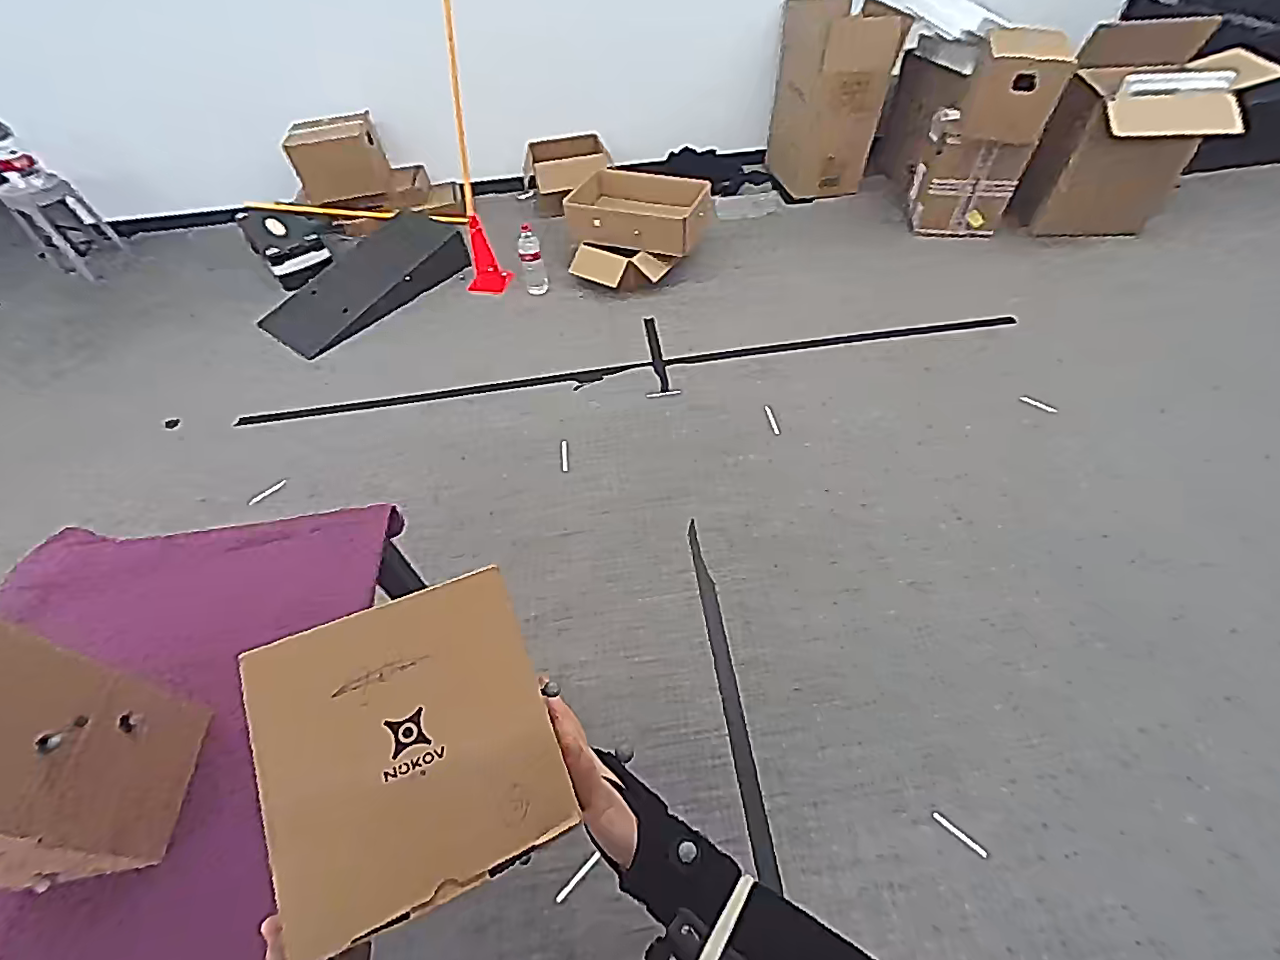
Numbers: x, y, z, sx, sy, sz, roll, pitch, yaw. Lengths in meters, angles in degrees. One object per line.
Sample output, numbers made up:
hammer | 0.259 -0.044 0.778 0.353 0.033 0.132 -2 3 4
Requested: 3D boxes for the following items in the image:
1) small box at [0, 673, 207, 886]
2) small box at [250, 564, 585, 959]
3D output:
small box | -0.665 0.353 0.635 0.168 0.176 0.179 -10 51 -2
small box | -0.149 0.189 0.406 0.168 0.176 0.179 -19 69 -18
